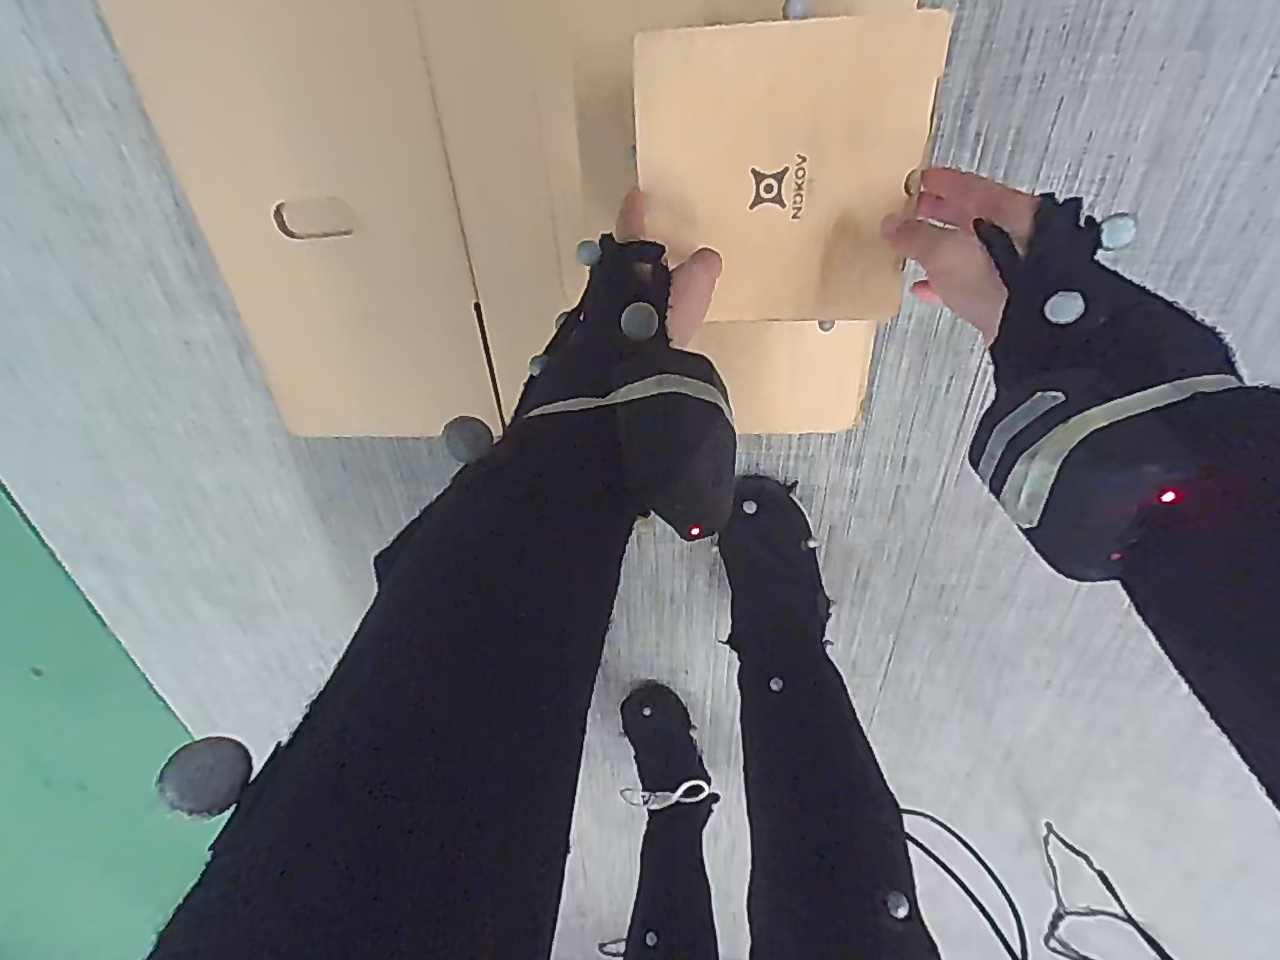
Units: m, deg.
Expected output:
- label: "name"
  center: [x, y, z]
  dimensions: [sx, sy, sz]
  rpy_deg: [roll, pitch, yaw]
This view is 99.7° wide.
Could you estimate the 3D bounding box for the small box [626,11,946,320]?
- label: "small box"
  center: [0.090, -0.222, 0.406]
  dimensions: [0.179, 0.176, 0.168]
  rpy_deg: [1, 120, 6]
